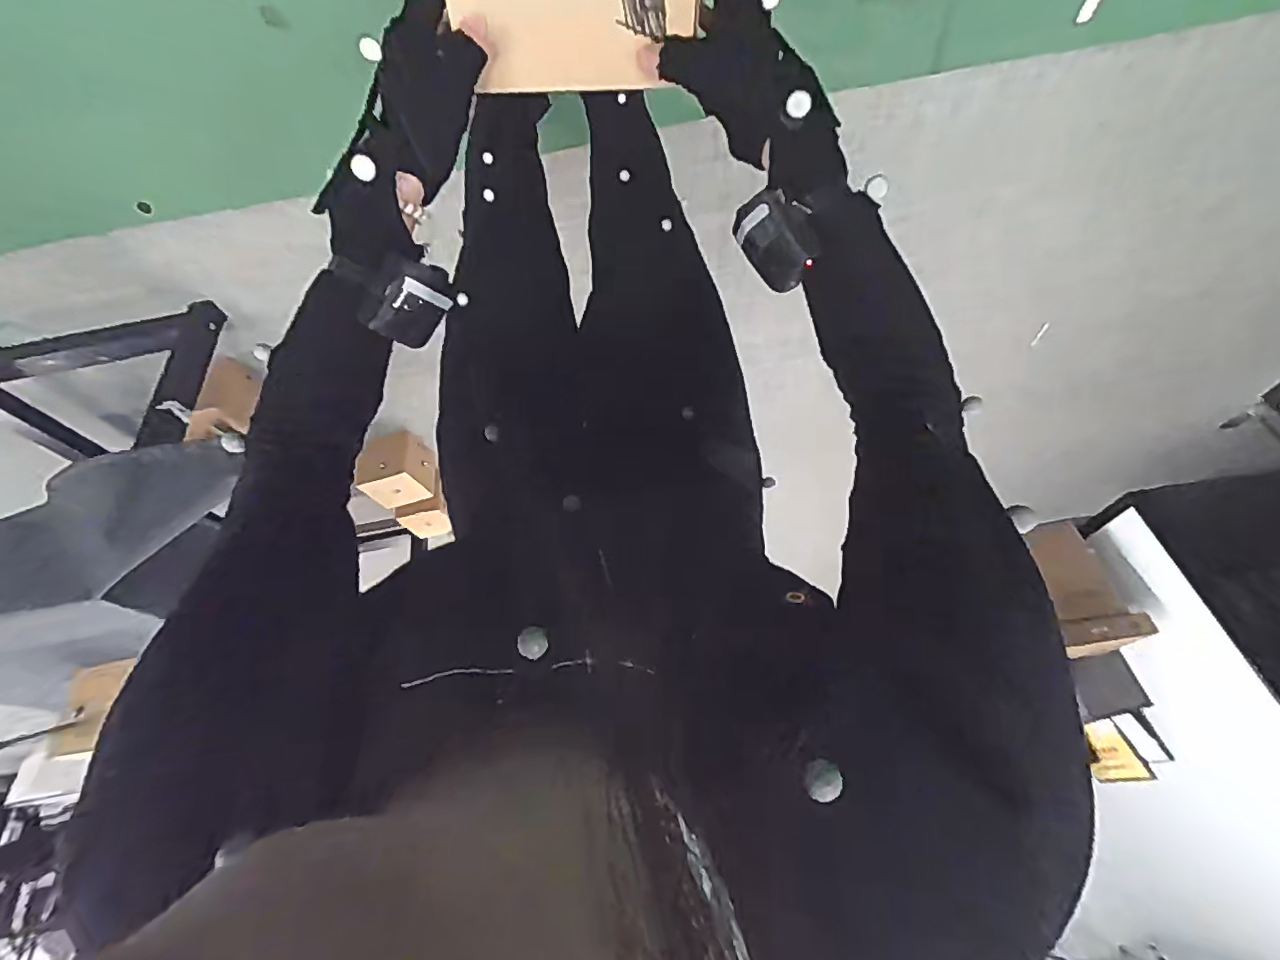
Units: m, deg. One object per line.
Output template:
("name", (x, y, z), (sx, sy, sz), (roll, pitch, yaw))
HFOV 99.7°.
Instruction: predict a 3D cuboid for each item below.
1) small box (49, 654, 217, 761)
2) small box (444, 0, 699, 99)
("small box", (-1.035, 0.475, 1.124), (0.179, 0.176, 0.168), (-12, 150, 3))
("small box", (-0.052, -0.406, 0.397), (0.179, 0.176, 0.168), (-3, 143, -3))
